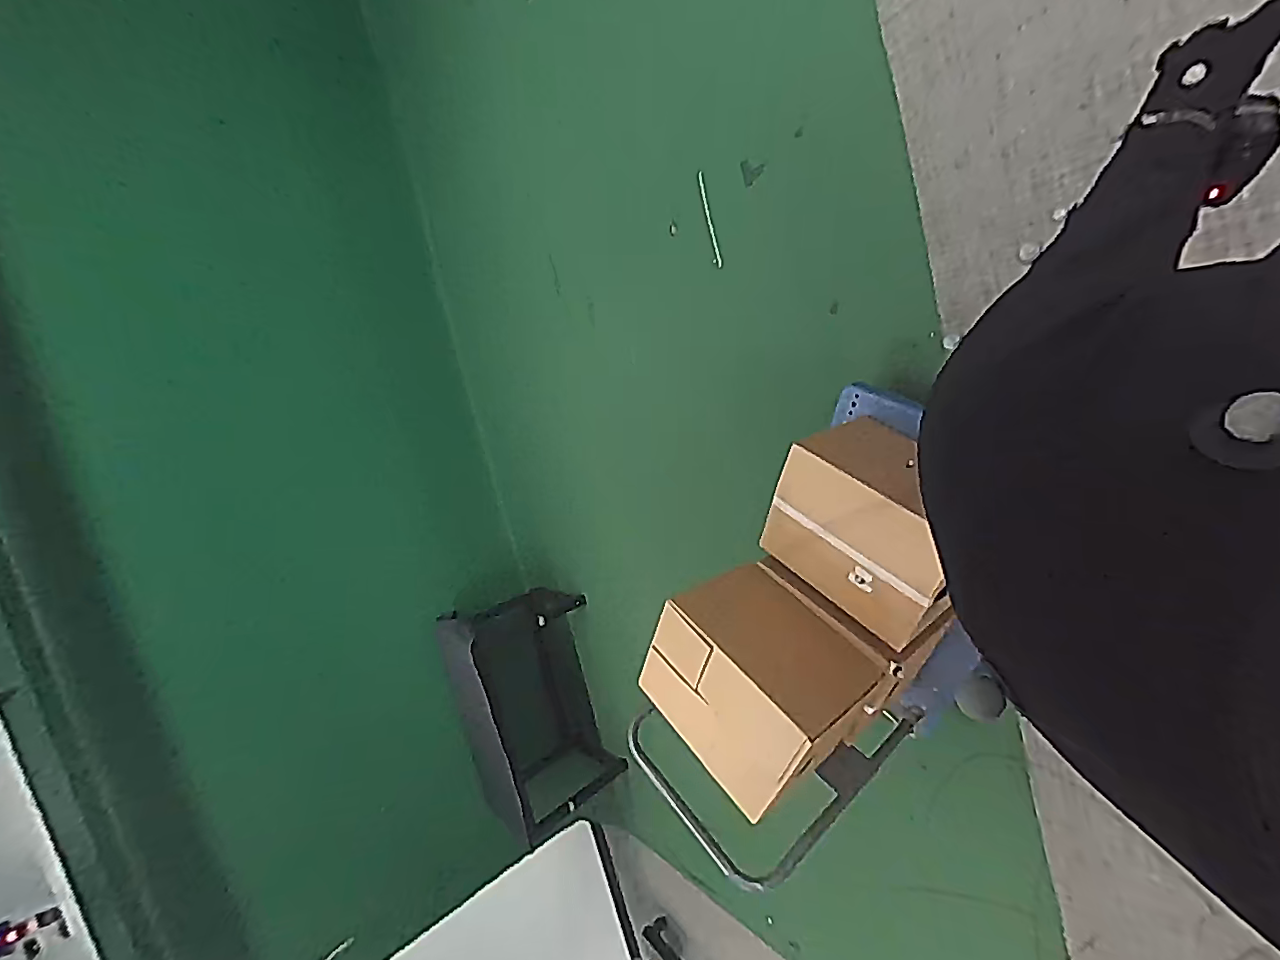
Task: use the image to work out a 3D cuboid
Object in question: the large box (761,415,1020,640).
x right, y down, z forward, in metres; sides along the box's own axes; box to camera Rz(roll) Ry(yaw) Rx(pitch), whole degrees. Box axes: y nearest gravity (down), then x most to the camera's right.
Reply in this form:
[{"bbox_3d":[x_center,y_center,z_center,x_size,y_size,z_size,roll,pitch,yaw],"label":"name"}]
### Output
[{"bbox_3d":[0.566,0.084,1.276,0.408,0.320,0.320,38,134,36],"label":"large box"}]
